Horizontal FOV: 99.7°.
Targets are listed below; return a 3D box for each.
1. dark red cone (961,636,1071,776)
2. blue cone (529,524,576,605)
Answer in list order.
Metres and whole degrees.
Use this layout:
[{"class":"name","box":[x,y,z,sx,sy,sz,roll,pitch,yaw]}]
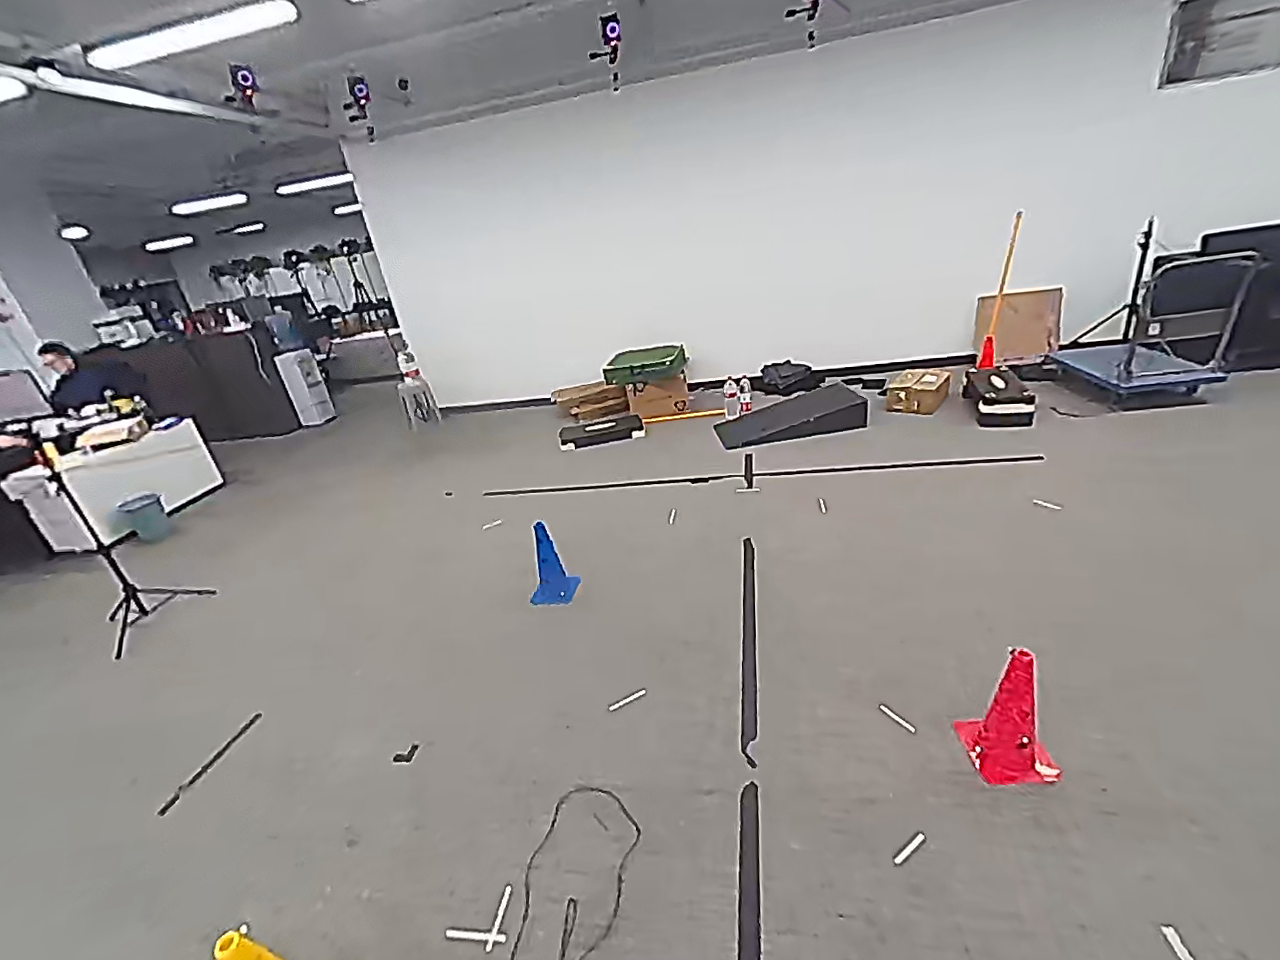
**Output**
[{"class":"dark red cone","box":[0.991,0.568,1.410,0.201,0.394,0.202,-8,25,6]},{"class":"blue cone","box":[-0.428,0.367,2.432,0.192,0.380,0.193,-5,25,13]}]
